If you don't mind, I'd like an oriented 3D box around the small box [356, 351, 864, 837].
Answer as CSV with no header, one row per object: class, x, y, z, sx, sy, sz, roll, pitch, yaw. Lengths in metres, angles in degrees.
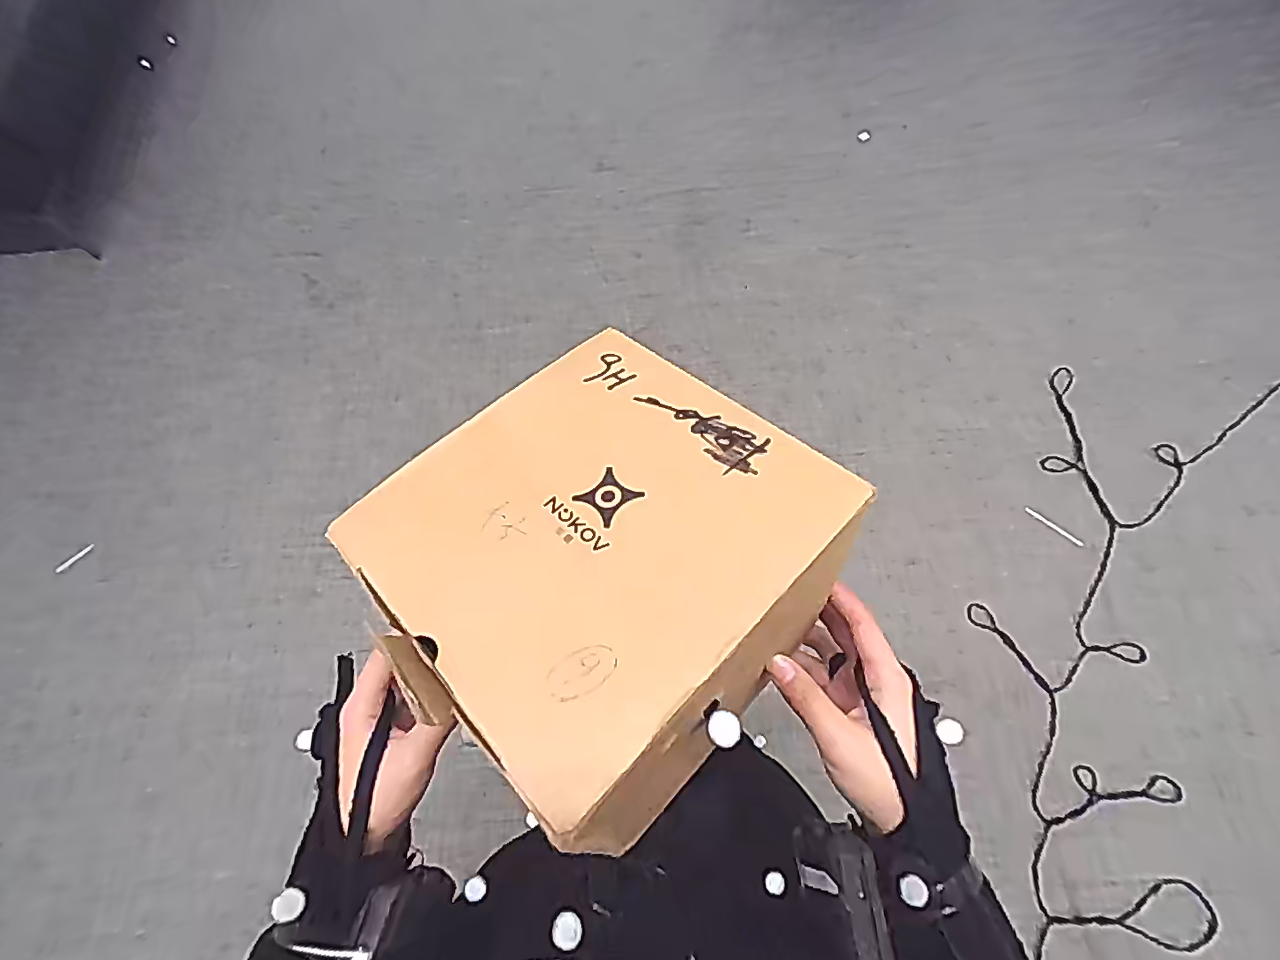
small box,-0.008,0.068,0.307,0.168,0.176,0.179,37,66,27
